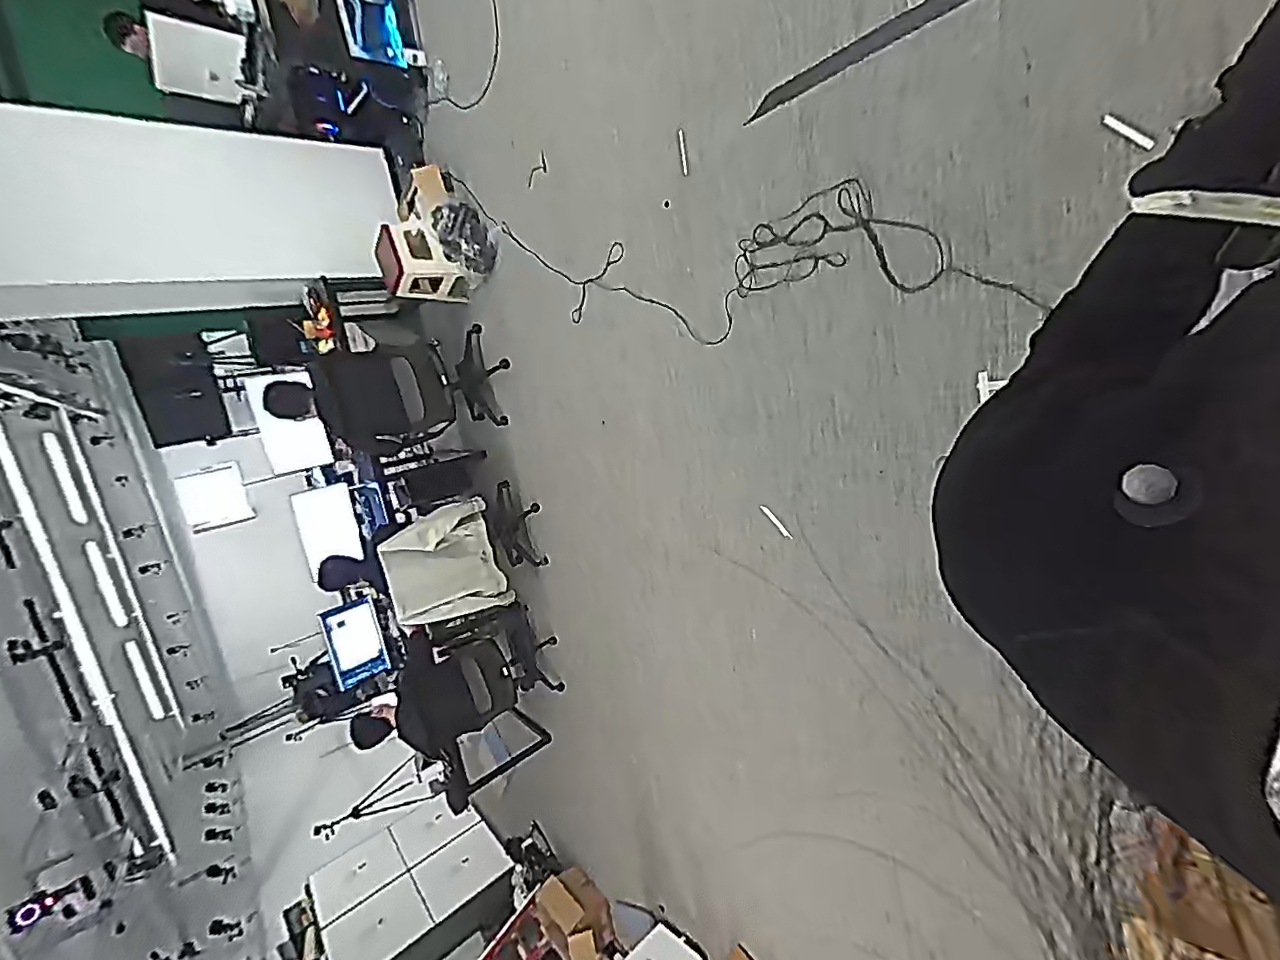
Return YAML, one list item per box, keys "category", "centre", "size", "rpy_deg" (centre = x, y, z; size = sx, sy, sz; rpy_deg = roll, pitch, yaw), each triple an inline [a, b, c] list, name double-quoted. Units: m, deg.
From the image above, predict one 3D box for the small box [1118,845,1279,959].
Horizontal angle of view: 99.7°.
- category: "small box"
  centre: [0.840, 0.706, 0.811]
  size: [0.168, 0.176, 0.179]
  rpy_deg: [6, 110, 49]

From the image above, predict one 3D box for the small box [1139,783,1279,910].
- category: "small box"
  centre: [0.961, 0.661, 0.914]
  size: [0.168, 0.176, 0.179]
  rpy_deg: [7, 110, 49]
